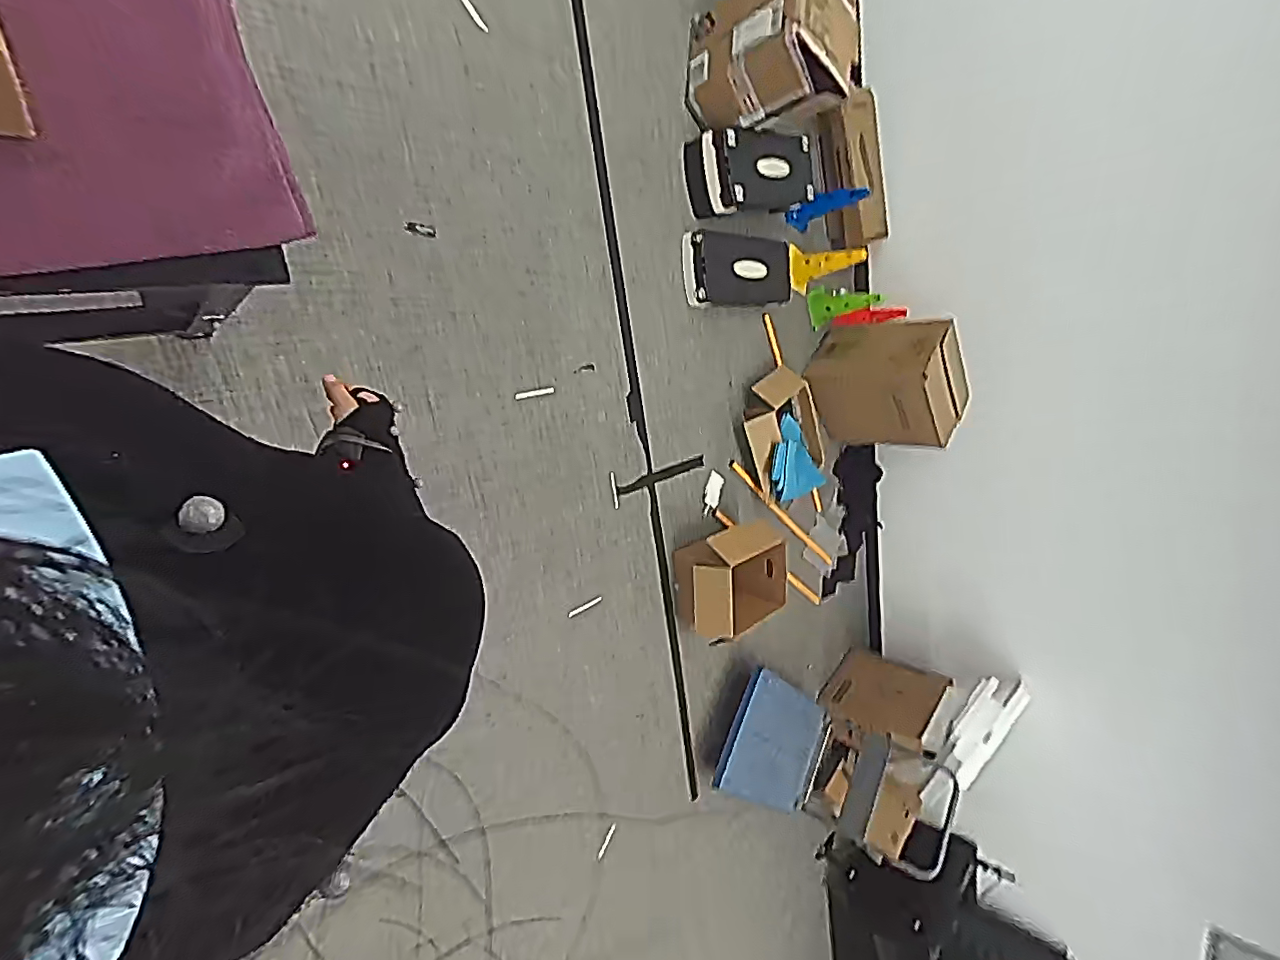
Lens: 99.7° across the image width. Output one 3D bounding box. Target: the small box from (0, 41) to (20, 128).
[{"bbox_3d":[-0.592,-0.387,0.379,0.168,0.176,0.179,-19,107,-41],"label":"small box"}]
